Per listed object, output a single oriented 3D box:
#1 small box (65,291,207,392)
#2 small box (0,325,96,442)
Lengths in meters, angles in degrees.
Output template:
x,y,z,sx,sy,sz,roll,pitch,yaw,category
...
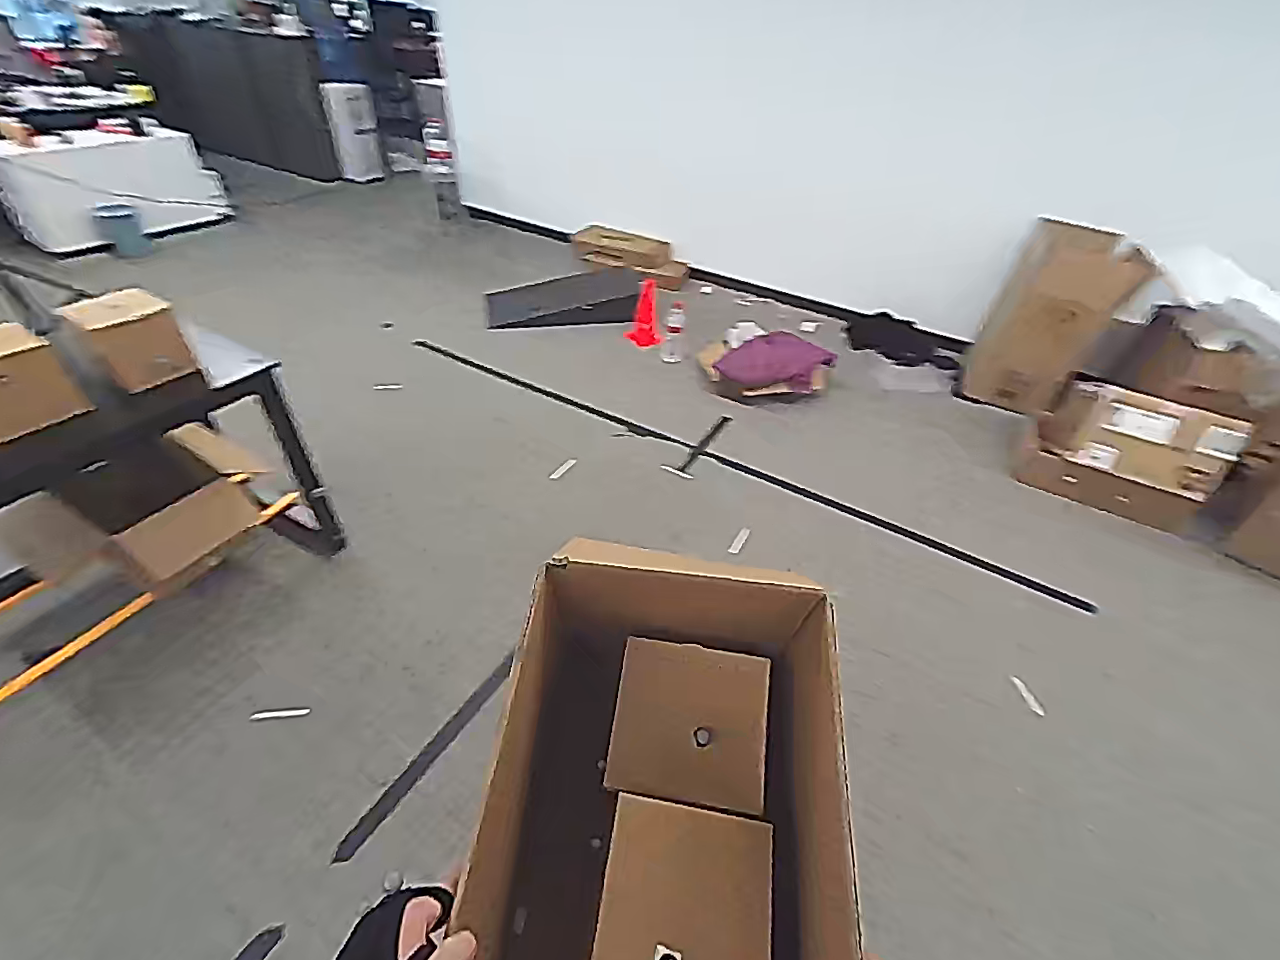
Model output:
x,y,z,sx,sy,sz,roll,pitch,yaw,category
-1.228,-0.339,1.328,0.179,0.176,0.168,24,45,21,small box
-1.354,-0.206,1.165,0.168,0.176,0.179,24,44,21,small box
